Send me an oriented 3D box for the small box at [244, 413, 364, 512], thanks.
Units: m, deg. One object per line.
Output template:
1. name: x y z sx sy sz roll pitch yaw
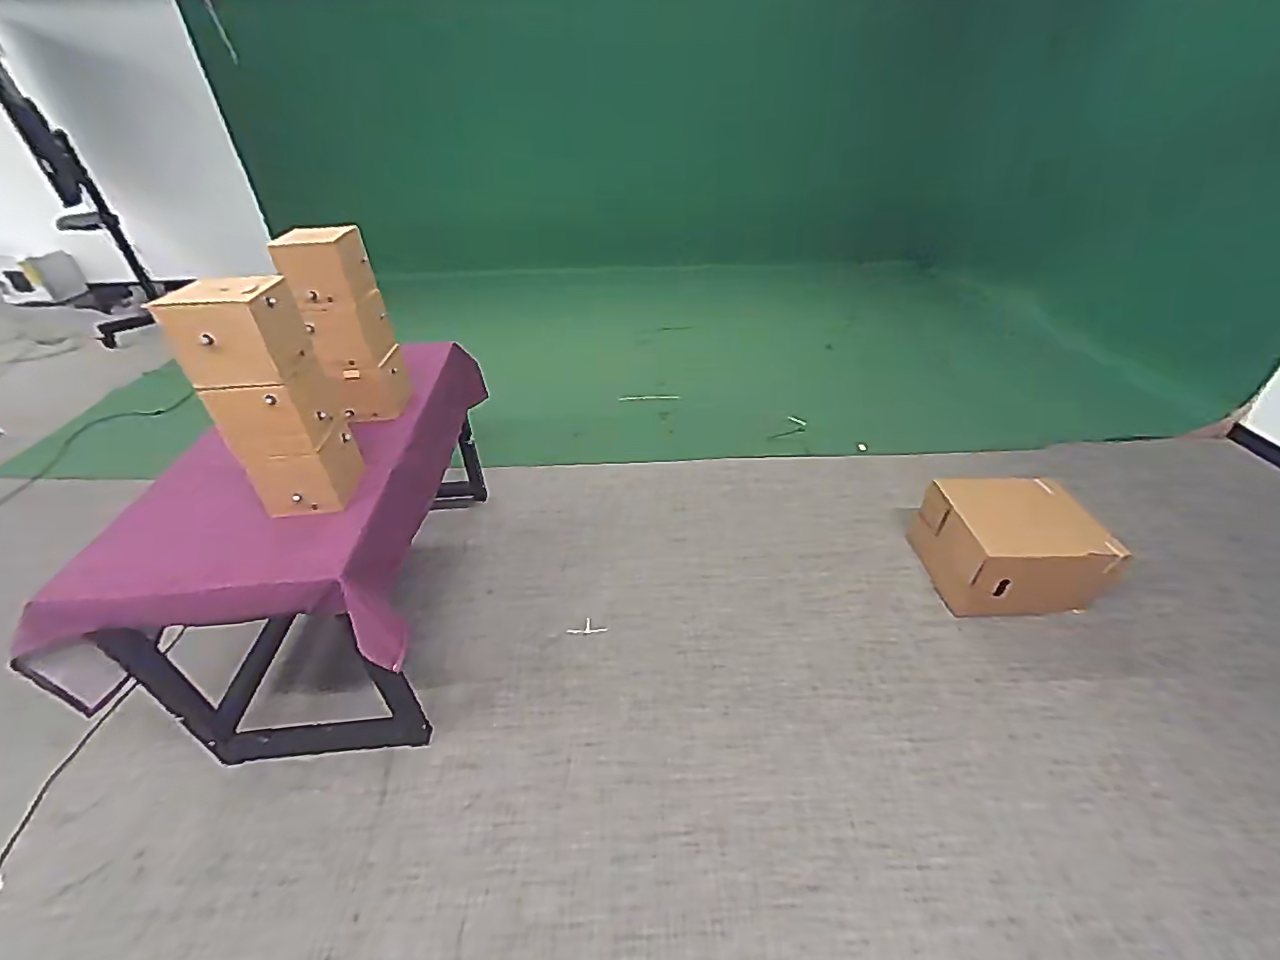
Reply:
1. small box: -0.784 -0.043 1.288 0.168 0.176 0.179 -5 37 -3

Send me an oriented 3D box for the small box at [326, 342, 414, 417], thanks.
1. small box: -0.802 -0.299 1.625 0.168 0.176 0.179 -2 37 -1

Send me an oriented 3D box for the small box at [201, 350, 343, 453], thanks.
1. small box: -0.793 -0.171 1.187 0.179 0.176 0.168 -4 37 -4

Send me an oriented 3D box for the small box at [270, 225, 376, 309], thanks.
1. small box: -0.828 -0.566 1.436 0.168 0.176 0.179 -4 37 -2

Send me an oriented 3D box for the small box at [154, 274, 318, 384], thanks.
1. small box: -0.796 -0.302 1.088 0.179 0.176 0.168 -4 37 -3
